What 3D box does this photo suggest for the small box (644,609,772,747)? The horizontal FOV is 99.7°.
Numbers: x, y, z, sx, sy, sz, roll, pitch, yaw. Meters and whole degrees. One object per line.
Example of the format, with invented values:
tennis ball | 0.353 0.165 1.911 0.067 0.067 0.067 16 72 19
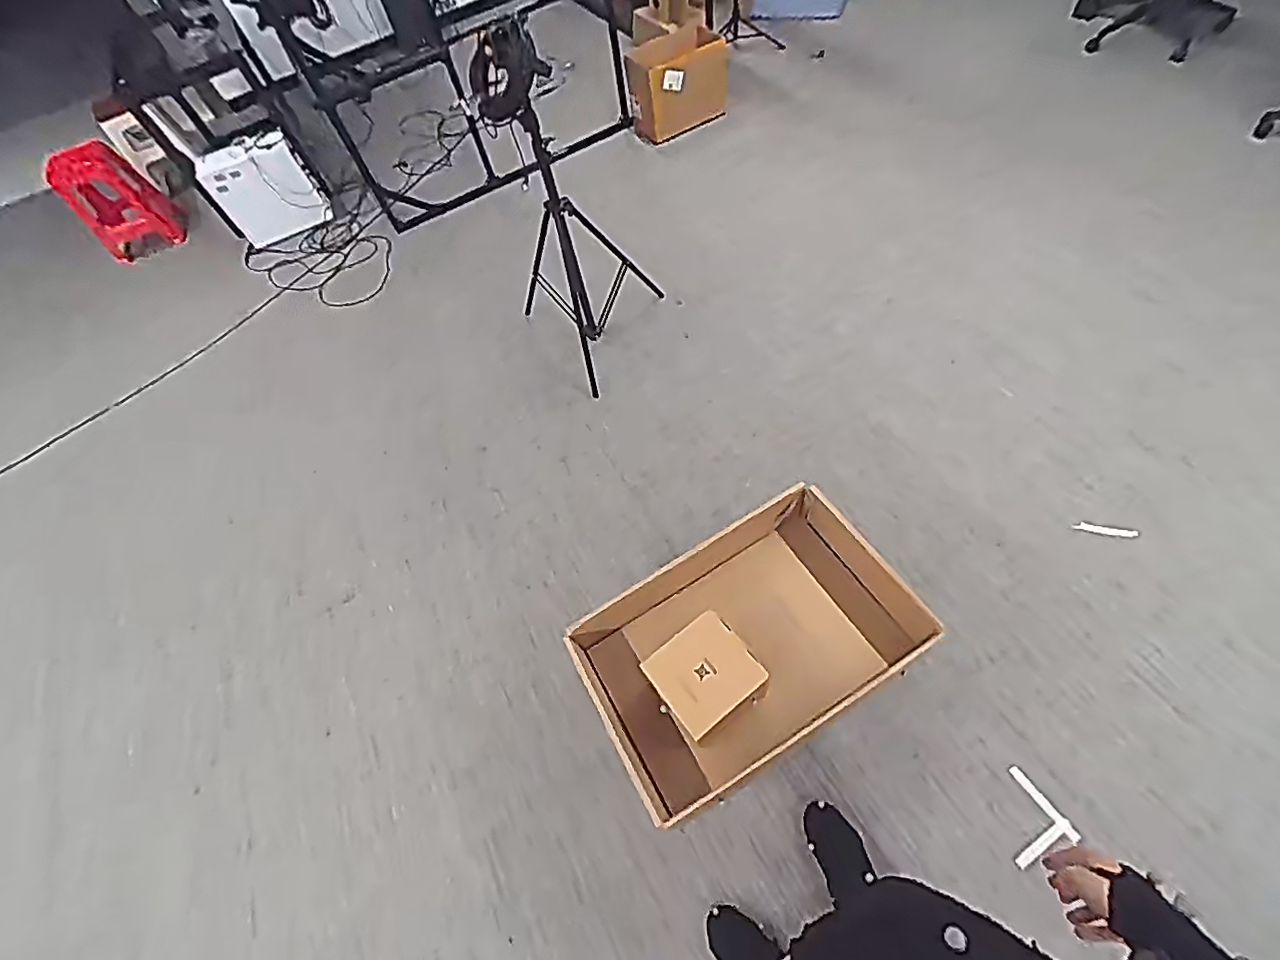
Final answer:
small box | 0.130 0.386 1.045 0.179 0.176 0.168 -37 60 -12
